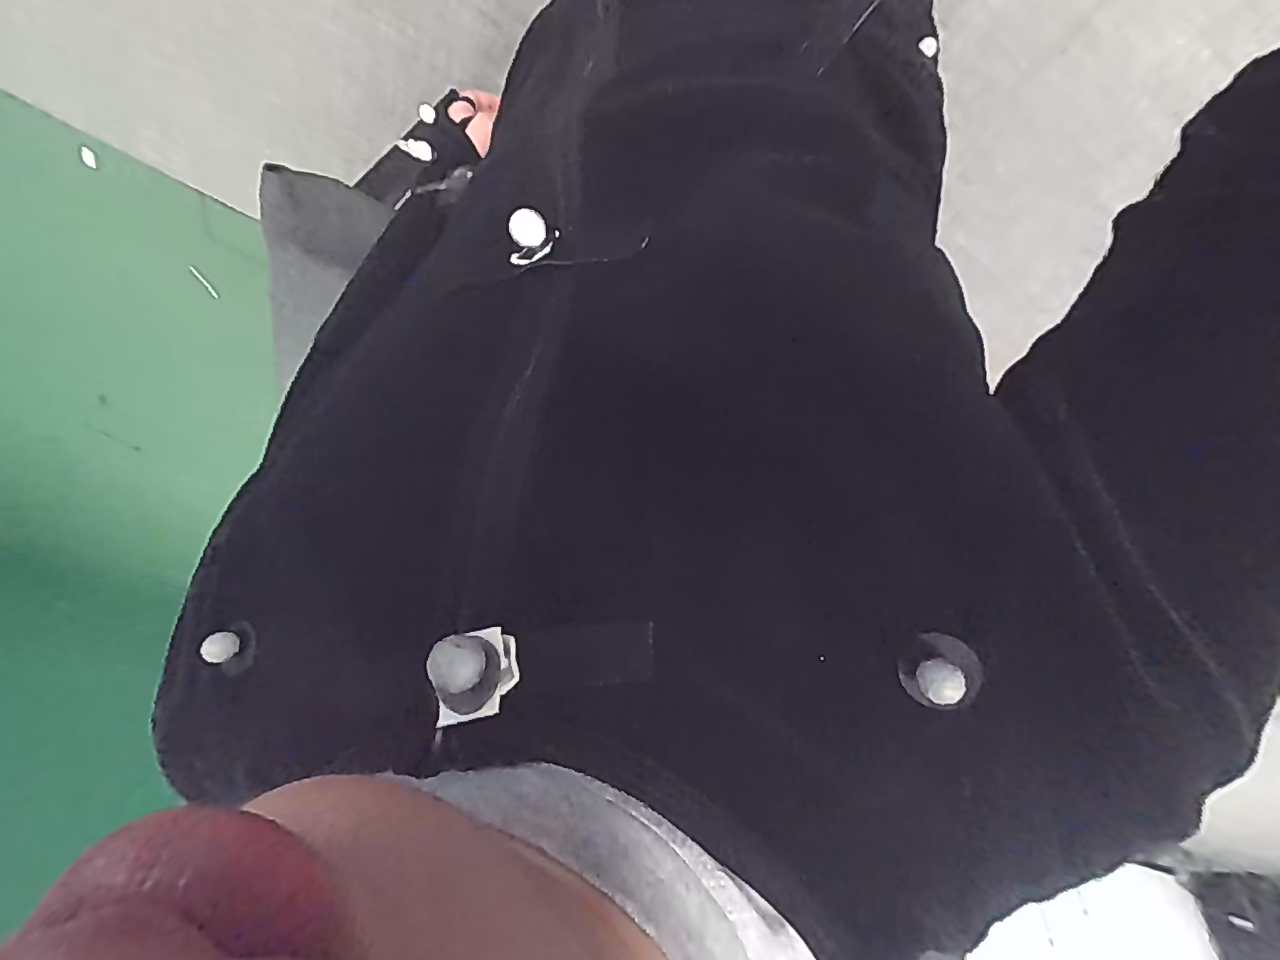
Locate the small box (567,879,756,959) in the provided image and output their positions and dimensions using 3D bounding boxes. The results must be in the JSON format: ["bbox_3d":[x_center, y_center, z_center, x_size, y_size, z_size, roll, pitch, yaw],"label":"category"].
[{"bbox_3d":[0.023,0.575,0.623,0.179,0.176,0.168,21,139,-18],"label":"small box"}]
